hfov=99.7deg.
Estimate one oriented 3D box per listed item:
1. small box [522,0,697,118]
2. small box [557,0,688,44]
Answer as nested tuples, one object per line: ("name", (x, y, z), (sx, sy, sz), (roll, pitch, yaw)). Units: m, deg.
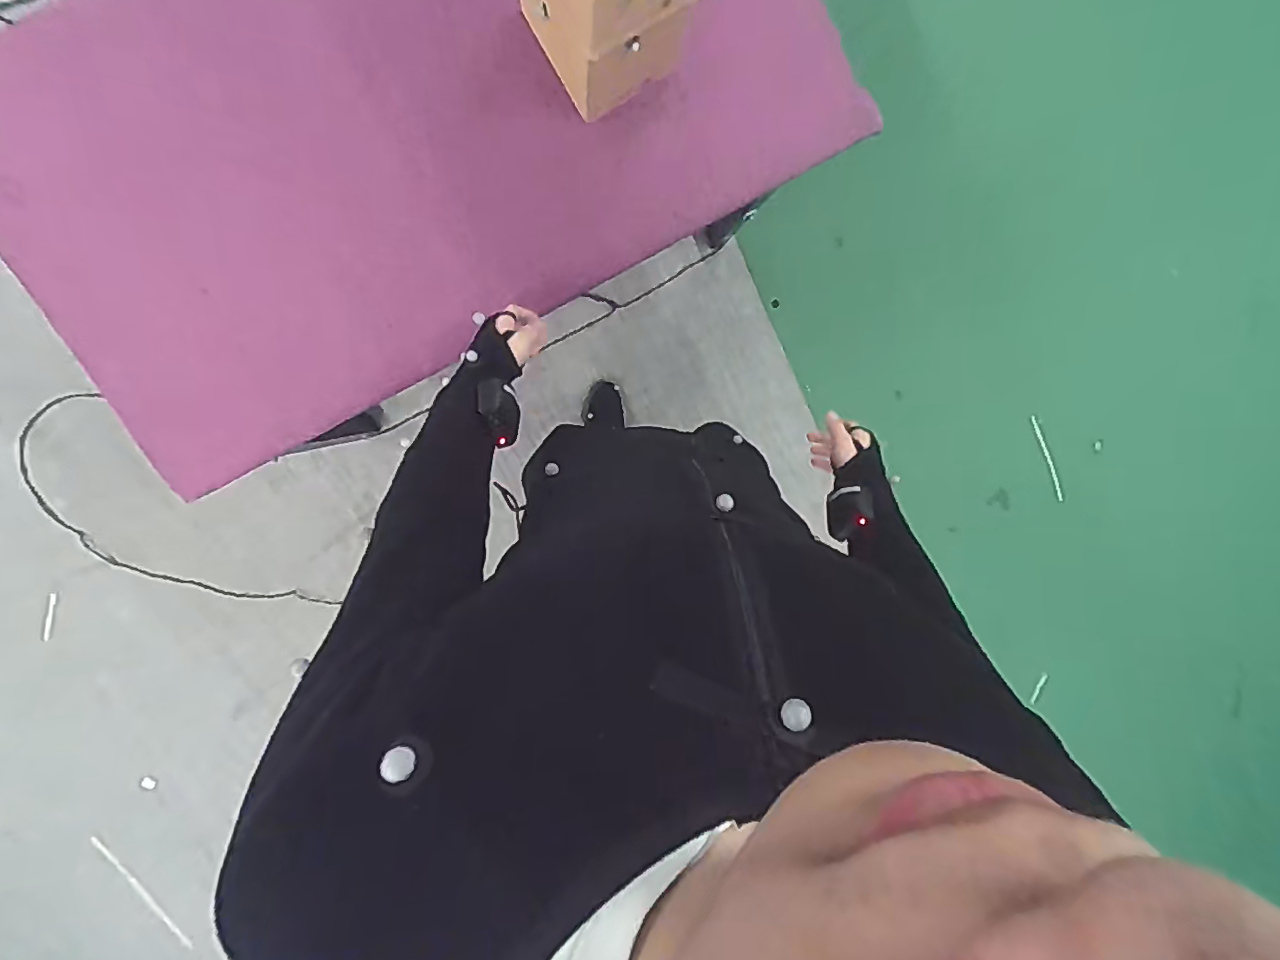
("small box", (-0.048, -0.622, 0.694), (0.168, 0.176, 0.179), (-32, 100, 0))
("small box", (-0.023, -0.588, 0.536), (0.168, 0.176, 0.179), (-31, 101, 0))
